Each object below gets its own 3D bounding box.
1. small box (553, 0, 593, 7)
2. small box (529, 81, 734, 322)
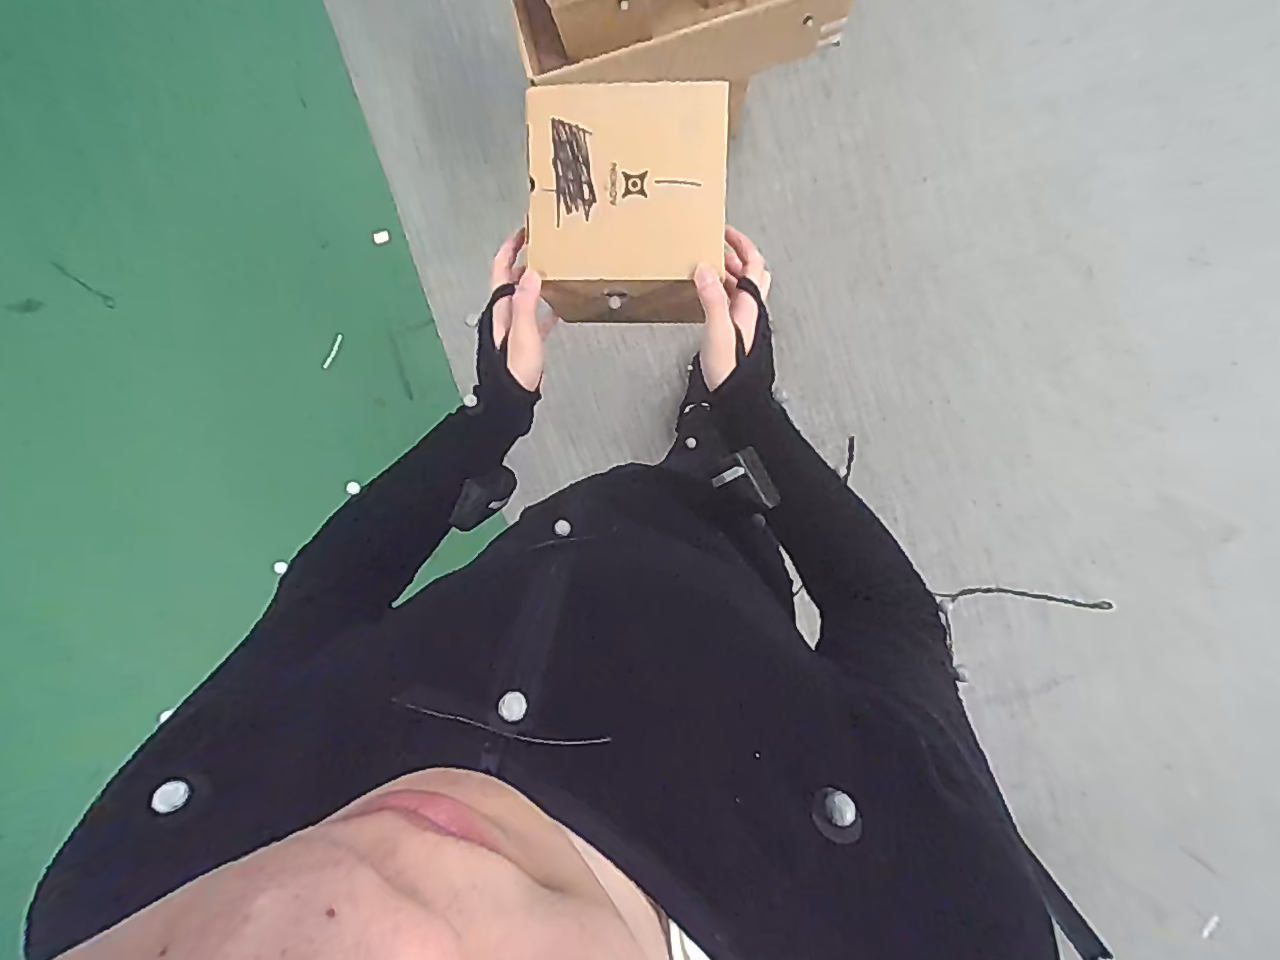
[{"bbox_3d":[-0.092,-0.888,0.837,0.168,0.176,0.179,-9,96,7],"label":"small box"},{"bbox_3d":[-0.004,-0.261,0.545,0.179,0.176,0.168,1,94,3],"label":"small box"}]
